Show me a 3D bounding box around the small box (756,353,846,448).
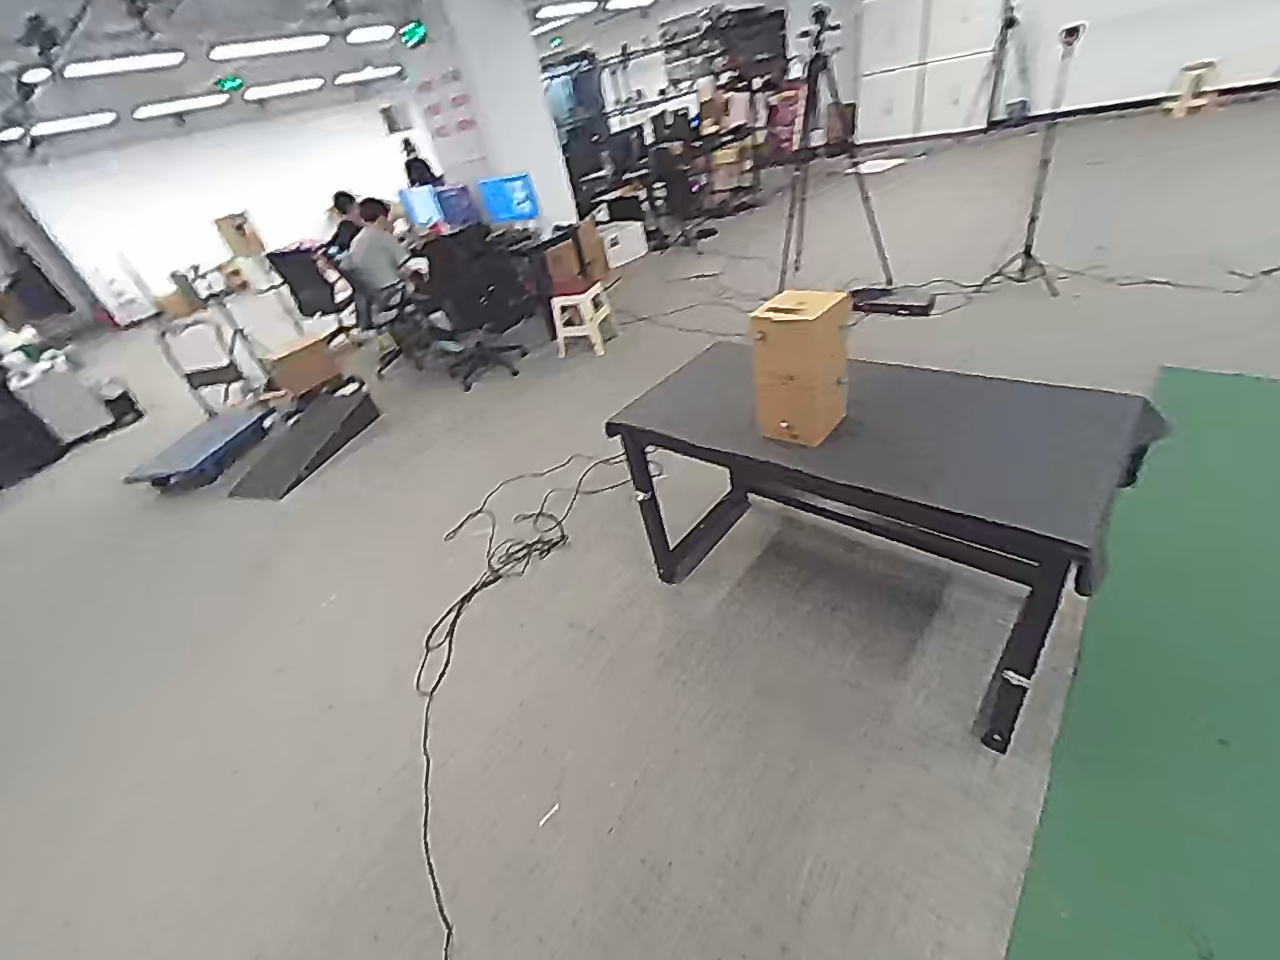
[{"bbox_3d":[0.419,-0.210,1.408,0.168,0.176,0.179,19,46,38],"label":"small box"}]
